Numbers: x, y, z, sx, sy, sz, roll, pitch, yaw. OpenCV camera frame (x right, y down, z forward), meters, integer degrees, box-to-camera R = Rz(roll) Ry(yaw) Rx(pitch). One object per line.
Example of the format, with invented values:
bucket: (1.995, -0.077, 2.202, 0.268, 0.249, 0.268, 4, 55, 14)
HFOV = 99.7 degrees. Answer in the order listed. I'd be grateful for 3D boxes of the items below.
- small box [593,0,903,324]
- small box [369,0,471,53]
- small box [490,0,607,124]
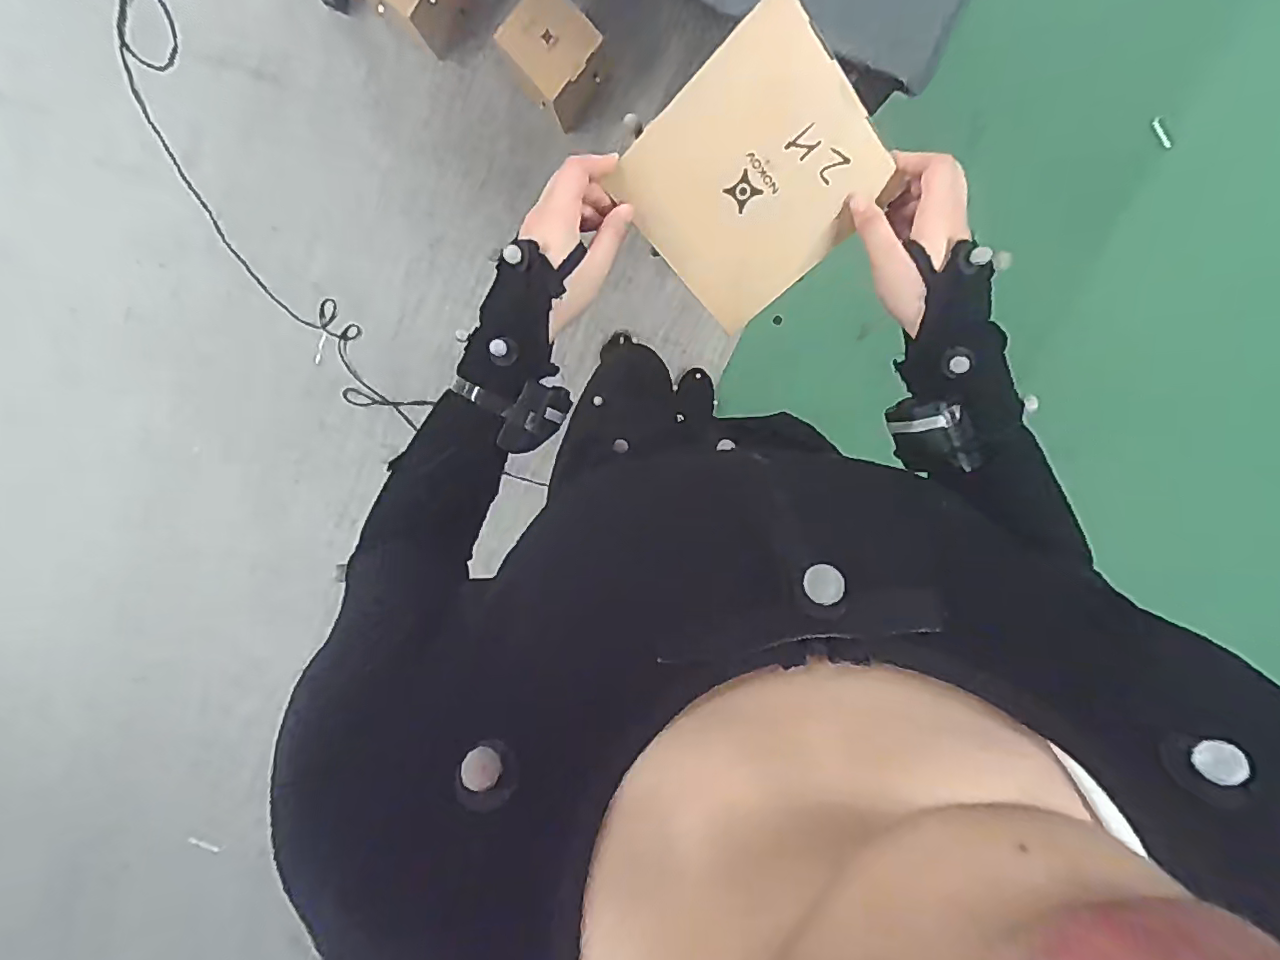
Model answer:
small box: (0.084, -0.274, 0.472, 0.179, 0.176, 0.168, -37, 114, 23)
small box: (-0.500, -1.082, 1.164, 0.179, 0.176, 0.168, 36, 101, -6)
small box: (-0.190, -0.928, 1.189, 0.179, 0.176, 0.168, 44, 100, -6)
